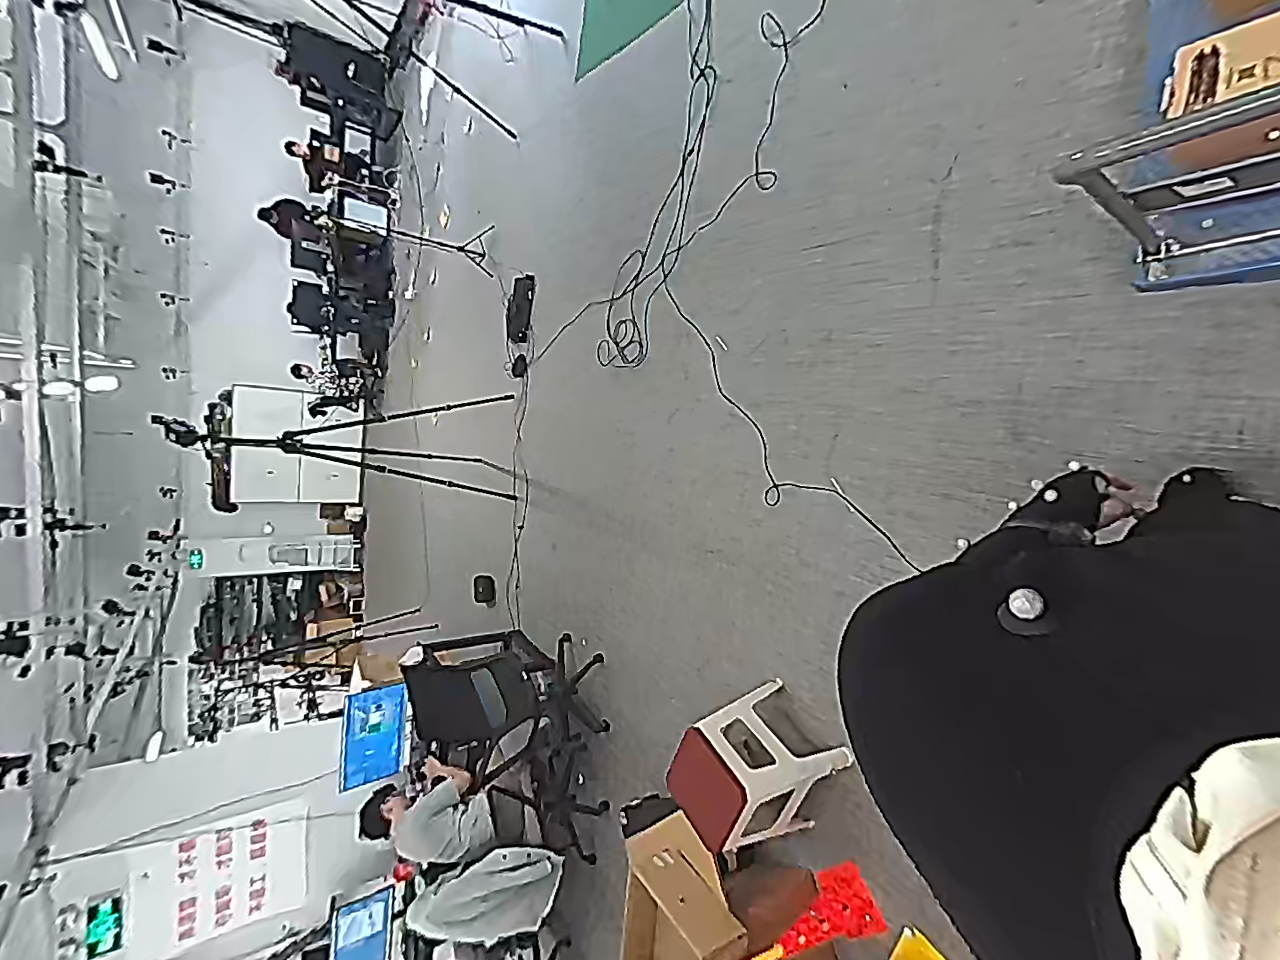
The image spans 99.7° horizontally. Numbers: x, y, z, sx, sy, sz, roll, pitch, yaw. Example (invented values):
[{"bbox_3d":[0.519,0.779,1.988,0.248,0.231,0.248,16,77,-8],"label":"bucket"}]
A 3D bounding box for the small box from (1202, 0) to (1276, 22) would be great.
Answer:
[{"bbox_3d":[1.097,-0.951,0.935,0.168,0.176,0.179,0,90,53],"label":"small box"}]
